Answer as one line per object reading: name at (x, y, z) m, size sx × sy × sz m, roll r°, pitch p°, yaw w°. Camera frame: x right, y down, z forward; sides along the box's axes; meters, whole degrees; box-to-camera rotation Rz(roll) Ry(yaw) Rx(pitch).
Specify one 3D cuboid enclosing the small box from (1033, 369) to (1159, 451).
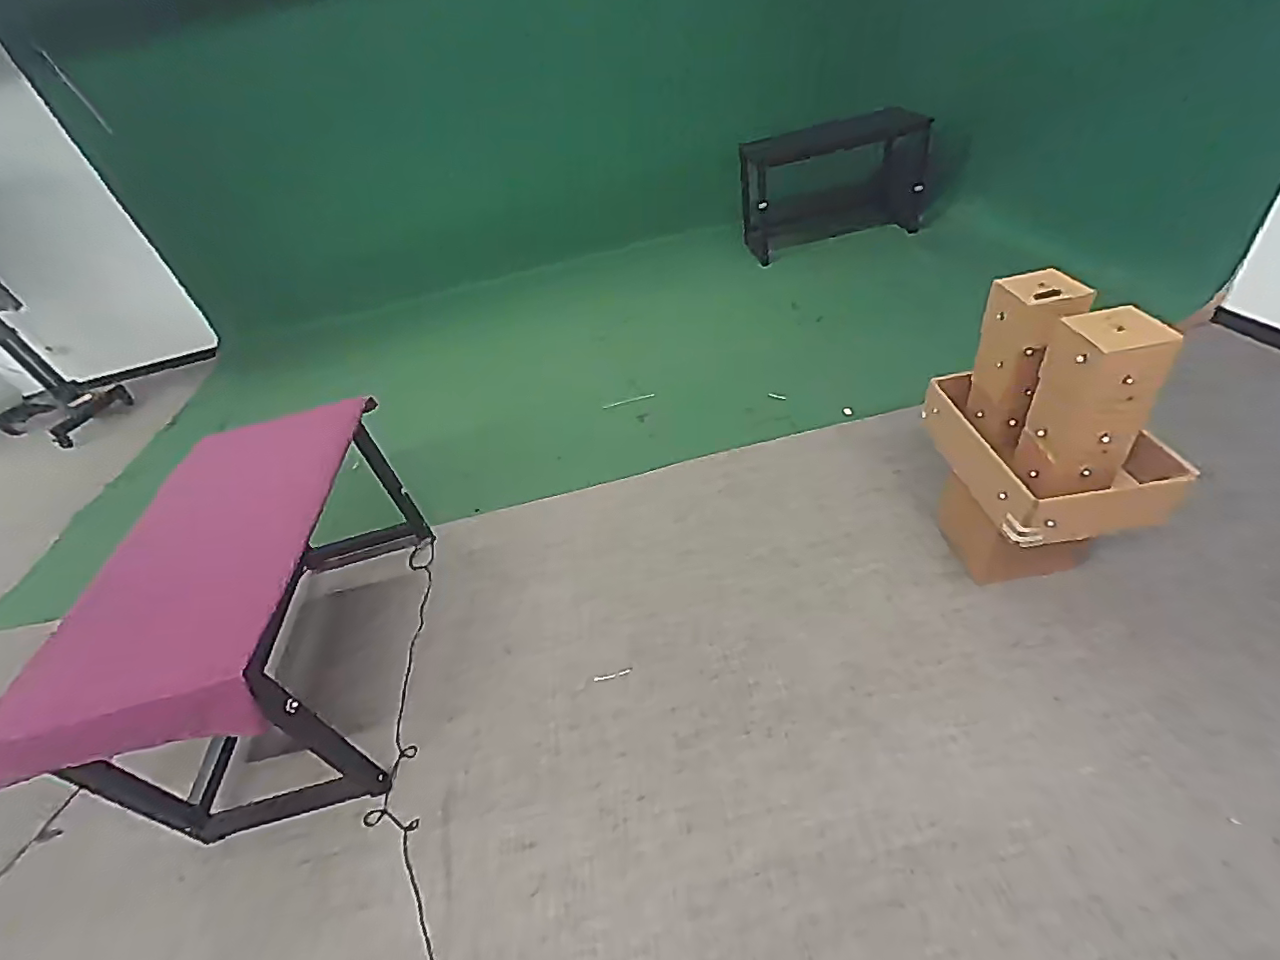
small box at (1.153, -0.188, 1.385) m, size 0.168 × 0.176 × 0.179 m, roll -8°, pitch 43°, yaw 9°

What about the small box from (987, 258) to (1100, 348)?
small box at (1.087, -0.475, 1.474) m, size 0.168 × 0.176 × 0.179 m, roll -11°, pitch 41°, yaw 6°

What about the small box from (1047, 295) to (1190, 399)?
small box at (1.112, -0.307, 1.276) m, size 0.168 × 0.176 × 0.179 m, roll -10°, pitch 41°, yaw 8°

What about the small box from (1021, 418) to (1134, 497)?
small box at (1.188, -0.070, 1.491) m, size 0.179 × 0.176 × 0.168 m, roll -7°, pitch 42°, yaw 10°
